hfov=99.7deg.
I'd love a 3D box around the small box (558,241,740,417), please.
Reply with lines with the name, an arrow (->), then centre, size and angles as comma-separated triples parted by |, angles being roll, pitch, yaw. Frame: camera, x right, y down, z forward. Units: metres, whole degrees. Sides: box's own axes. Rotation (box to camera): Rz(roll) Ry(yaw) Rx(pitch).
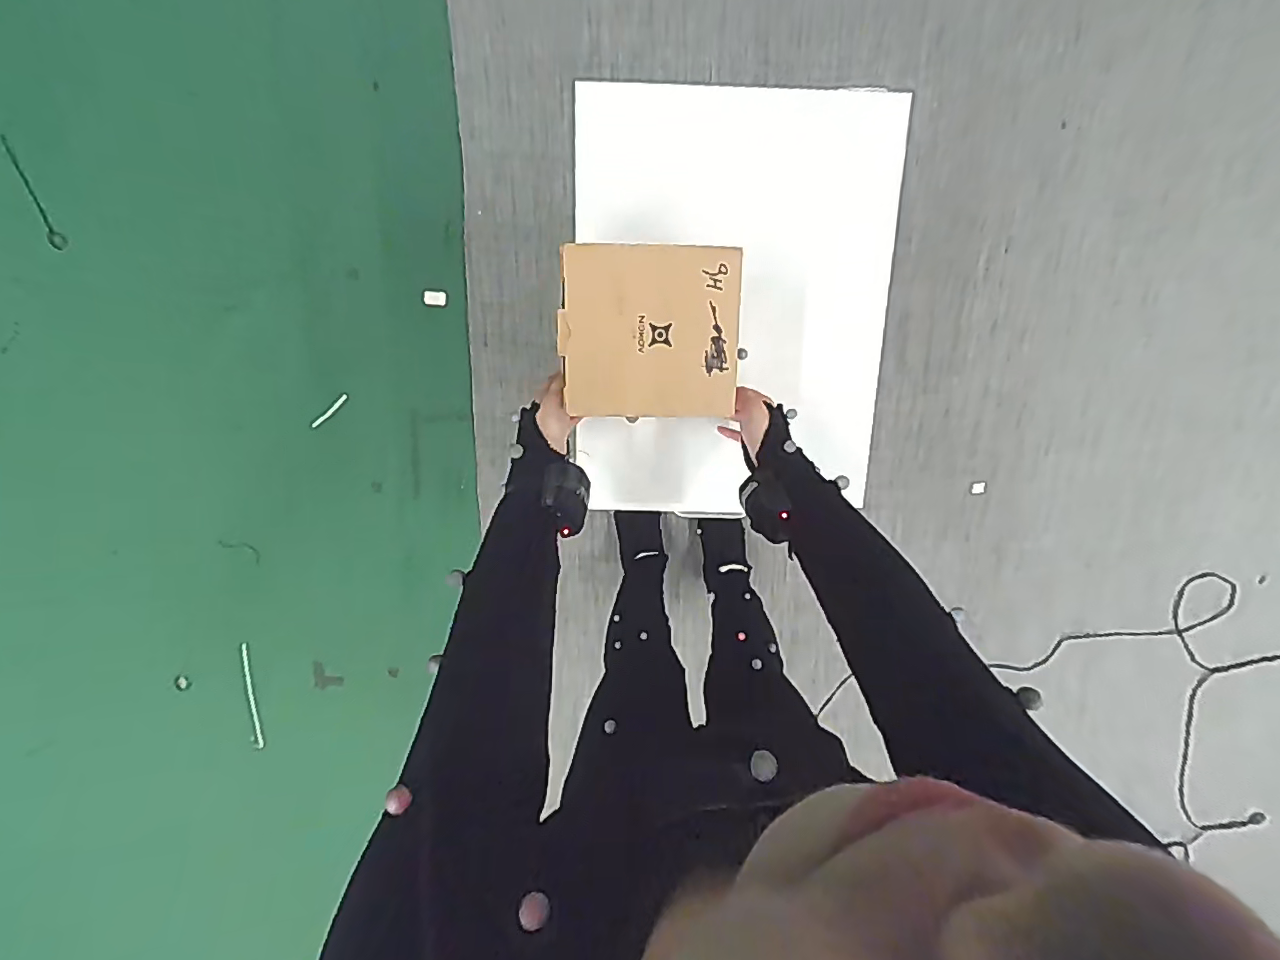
small box -> 0.005, -0.162, 0.609 | 0.179, 0.176, 0.168 | 0, 103, -3
